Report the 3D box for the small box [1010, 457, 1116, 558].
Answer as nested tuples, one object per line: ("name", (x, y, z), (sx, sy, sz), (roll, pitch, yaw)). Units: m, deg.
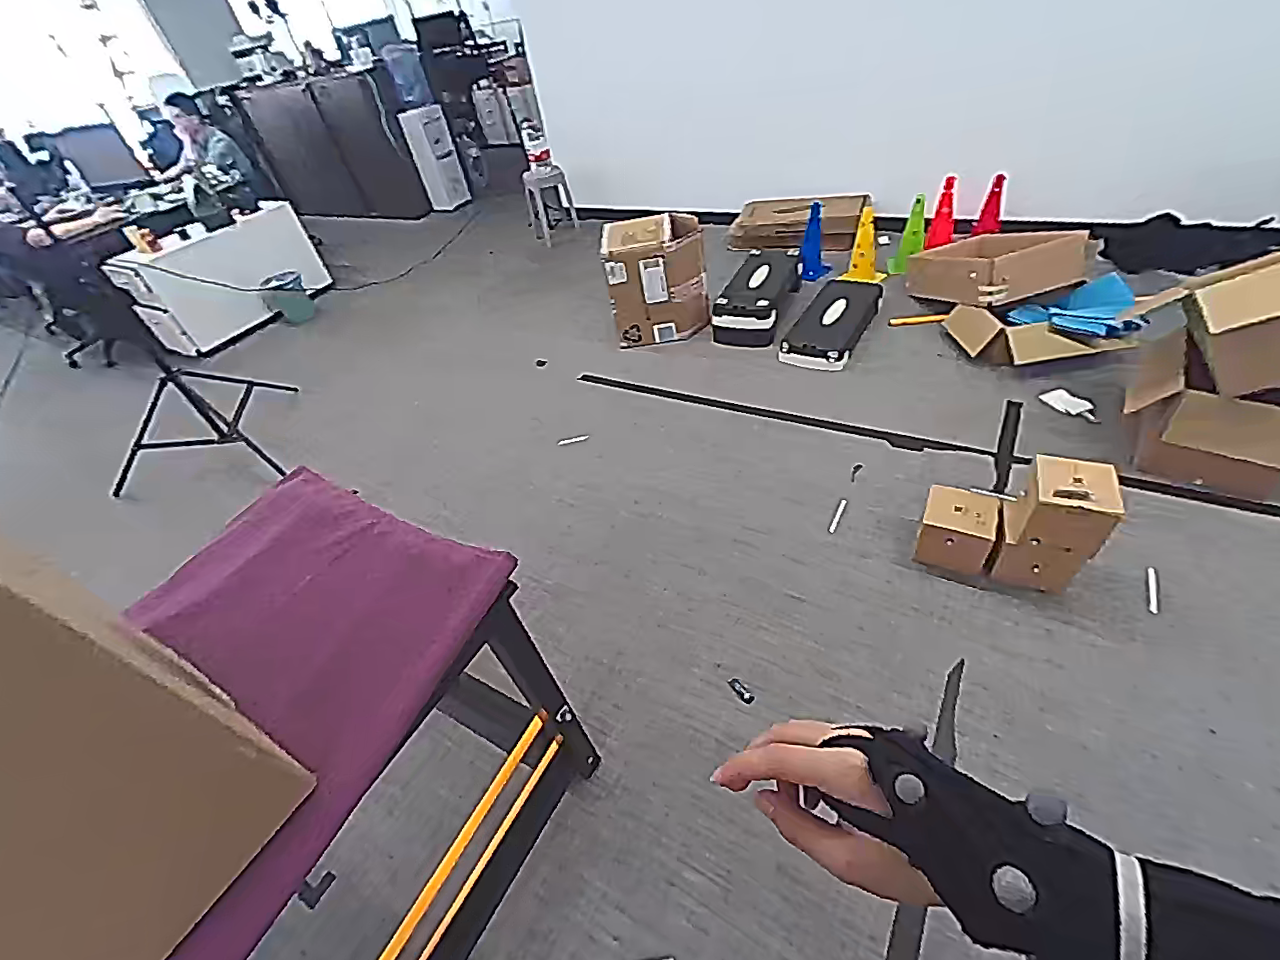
("small box", (1.055, 0.071, 1.362), (0.168, 0.176, 0.179), (12, 47, 23))
